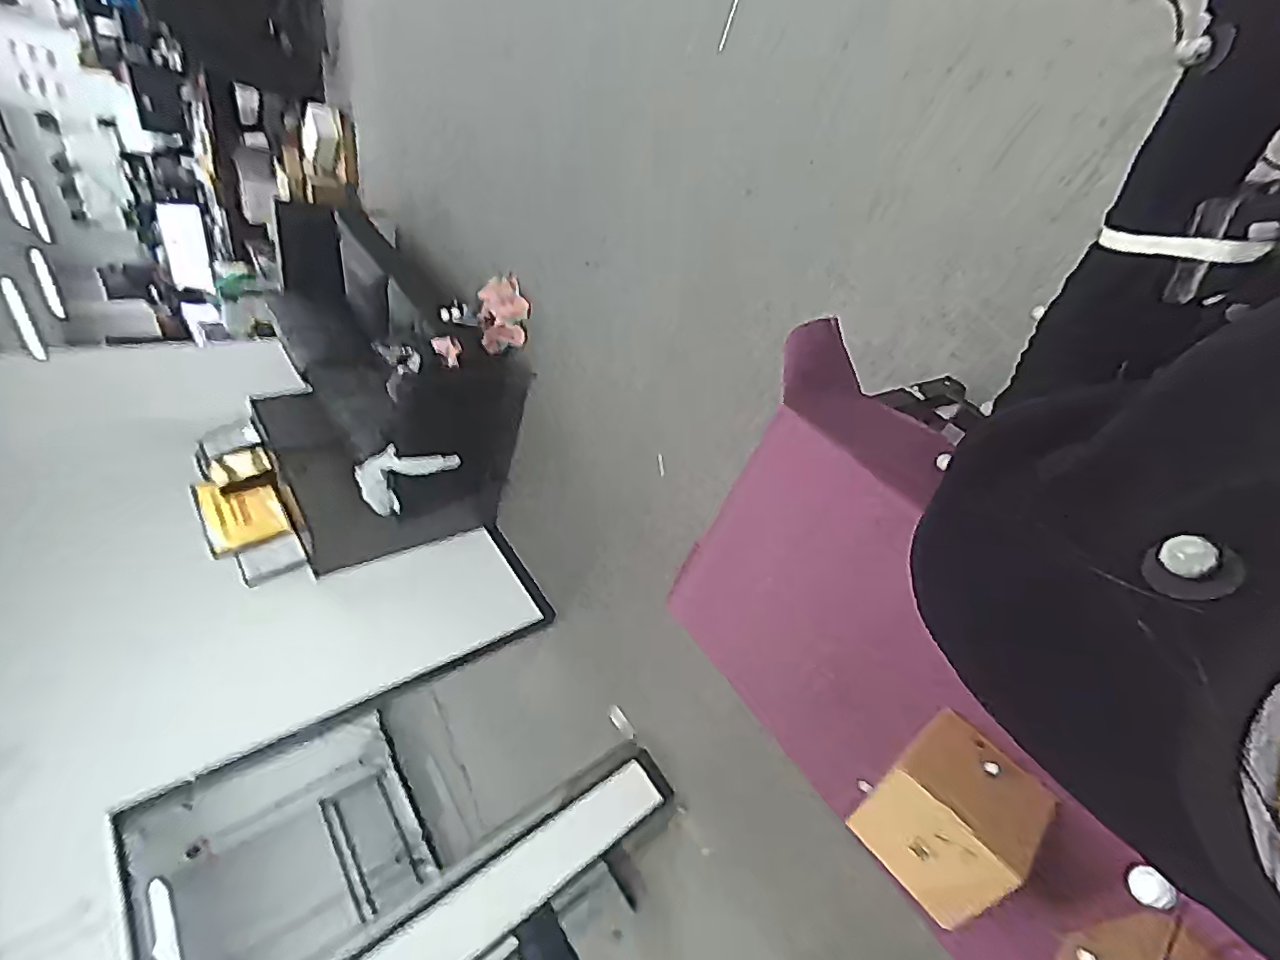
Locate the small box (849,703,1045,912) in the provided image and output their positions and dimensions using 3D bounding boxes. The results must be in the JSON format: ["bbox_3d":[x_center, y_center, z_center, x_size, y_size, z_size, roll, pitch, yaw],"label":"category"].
[{"bbox_3d":[0.453,0.475,0.801,0.168,0.176,0.179,41,131,33],"label":"small box"}]

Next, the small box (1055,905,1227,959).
[{"bbox_3d":[0.634,0.663,0.654,0.179,0.176,0.168,47,135,31],"label":"small box"}]
